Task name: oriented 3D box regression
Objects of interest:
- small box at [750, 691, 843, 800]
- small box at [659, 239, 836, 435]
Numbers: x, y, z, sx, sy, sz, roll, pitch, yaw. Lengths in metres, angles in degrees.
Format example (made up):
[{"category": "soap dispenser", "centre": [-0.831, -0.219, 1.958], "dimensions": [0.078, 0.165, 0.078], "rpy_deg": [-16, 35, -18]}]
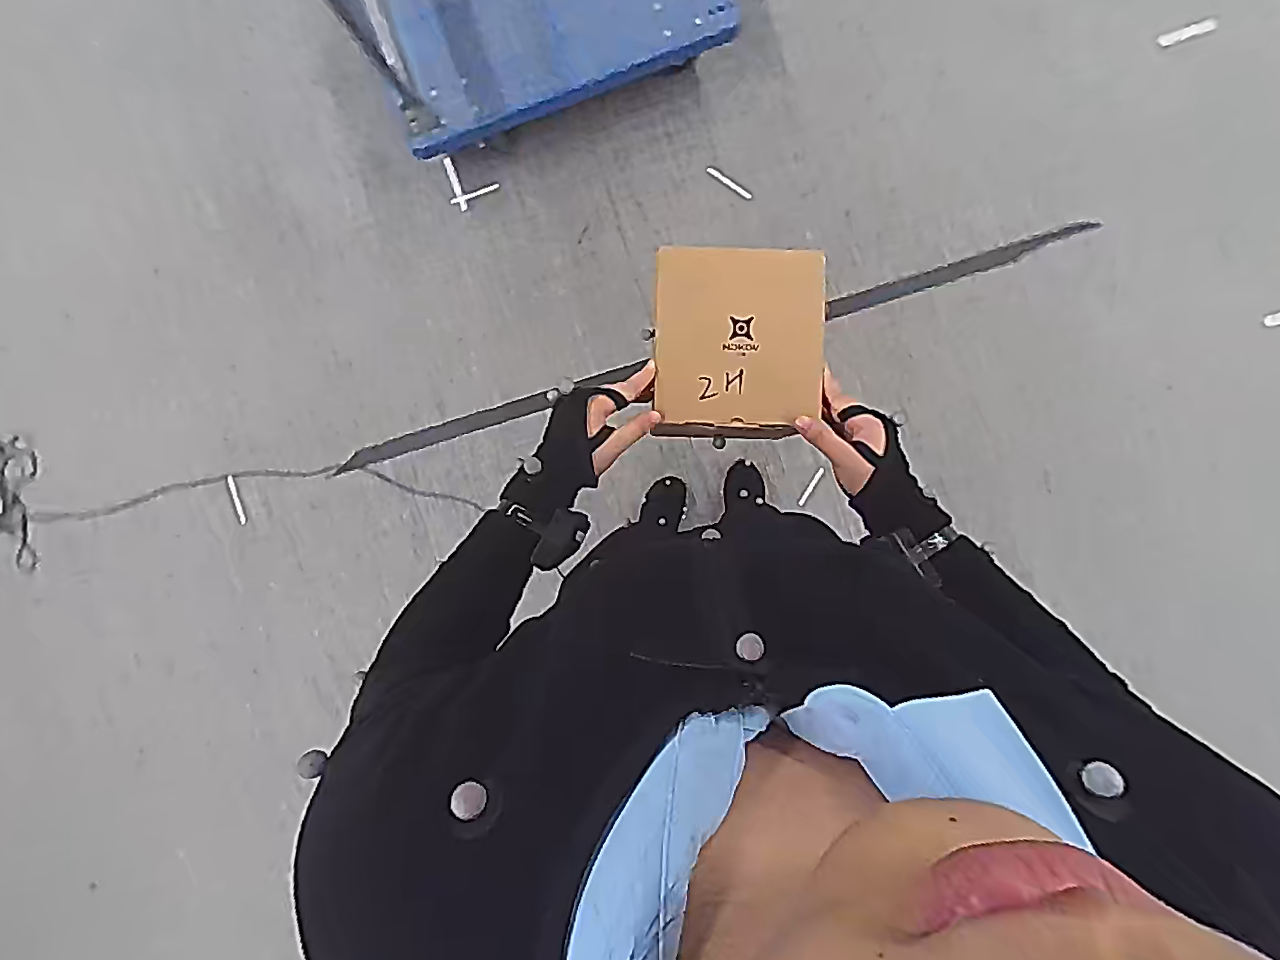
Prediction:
[{"category": "small box", "centre": [0.404, 0.689, 1.419], "dimensions": [0.168, 0.176, 0.179], "rpy_deg": [-20, 90, 2]}, {"category": "small box", "centre": [0.106, -0.145, 0.600], "dimensions": [0.168, 0.176, 0.179], "rpy_deg": [0, 91, 1]}]
